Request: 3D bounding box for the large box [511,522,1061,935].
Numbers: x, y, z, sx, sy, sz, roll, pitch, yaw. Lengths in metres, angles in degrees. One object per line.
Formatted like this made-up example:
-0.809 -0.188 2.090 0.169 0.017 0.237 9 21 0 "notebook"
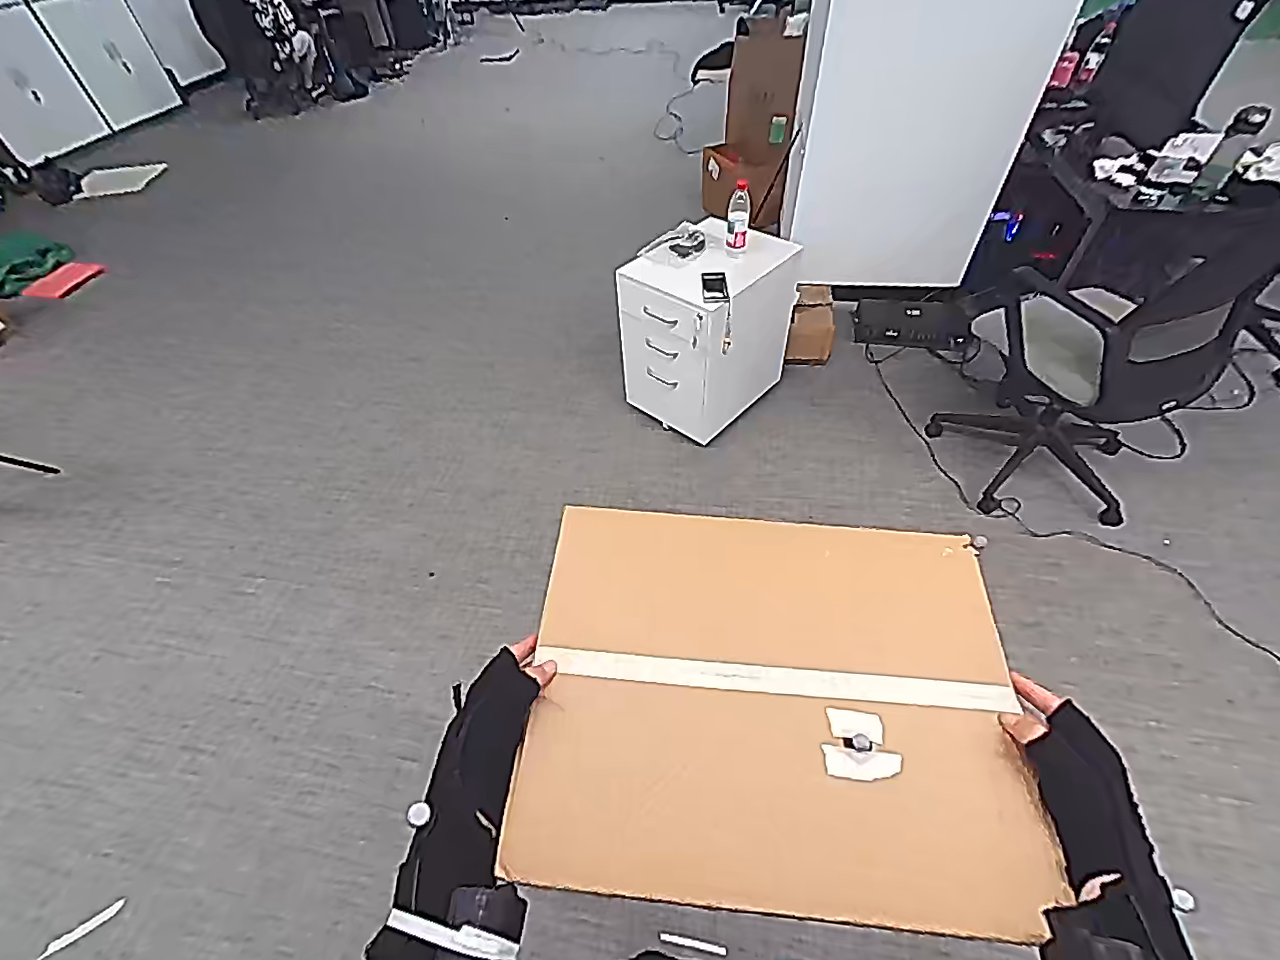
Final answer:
0.110 0.265 0.593 0.408 0.320 0.320 4 57 3 "large box"
